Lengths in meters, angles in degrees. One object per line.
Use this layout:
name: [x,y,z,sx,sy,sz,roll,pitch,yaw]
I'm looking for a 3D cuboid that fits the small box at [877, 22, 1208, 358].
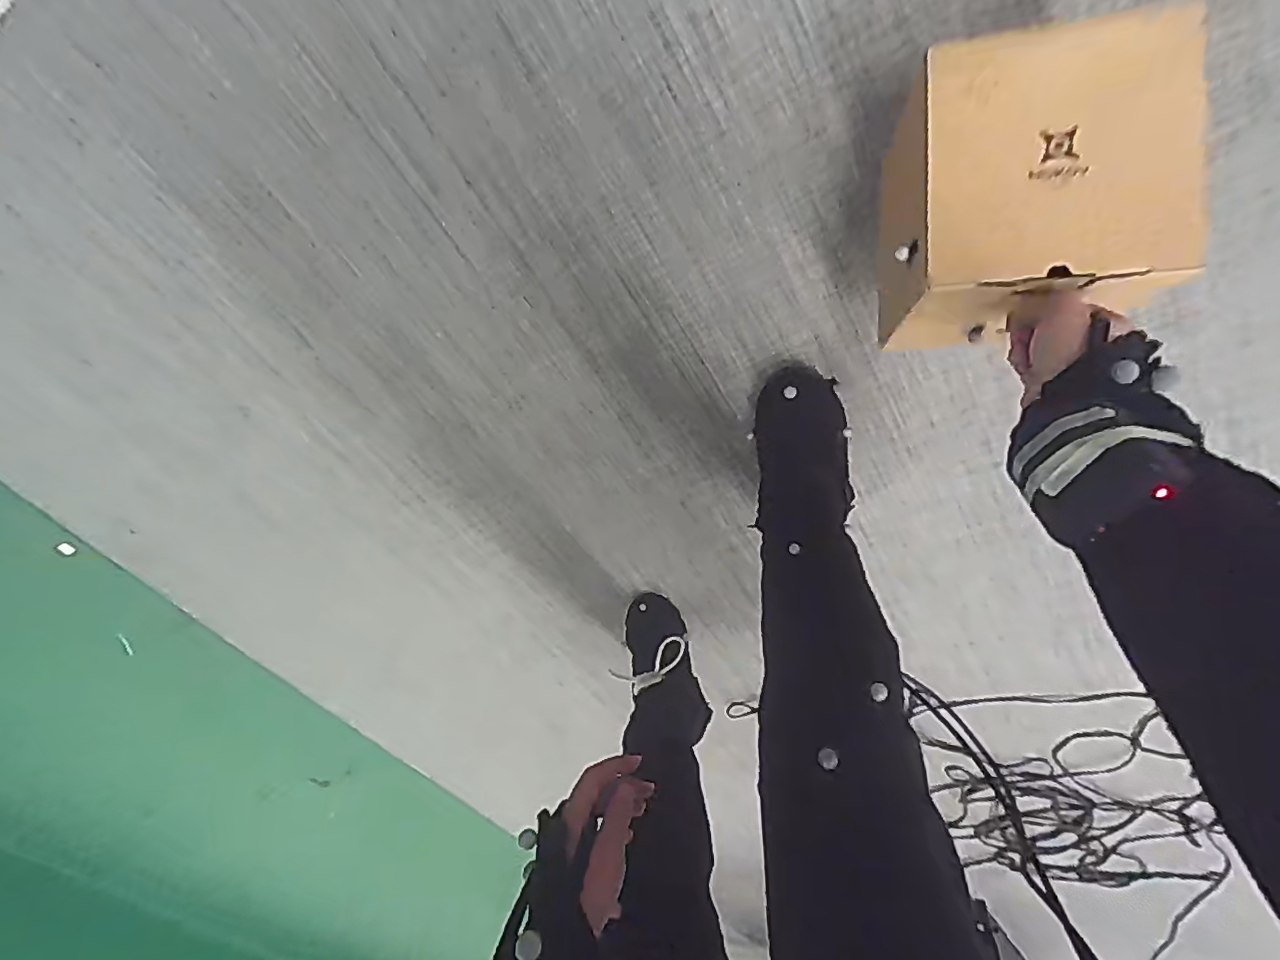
small box: [0.298,-0.211,0.443,0.168,0.176,0.179,1,86,12]
